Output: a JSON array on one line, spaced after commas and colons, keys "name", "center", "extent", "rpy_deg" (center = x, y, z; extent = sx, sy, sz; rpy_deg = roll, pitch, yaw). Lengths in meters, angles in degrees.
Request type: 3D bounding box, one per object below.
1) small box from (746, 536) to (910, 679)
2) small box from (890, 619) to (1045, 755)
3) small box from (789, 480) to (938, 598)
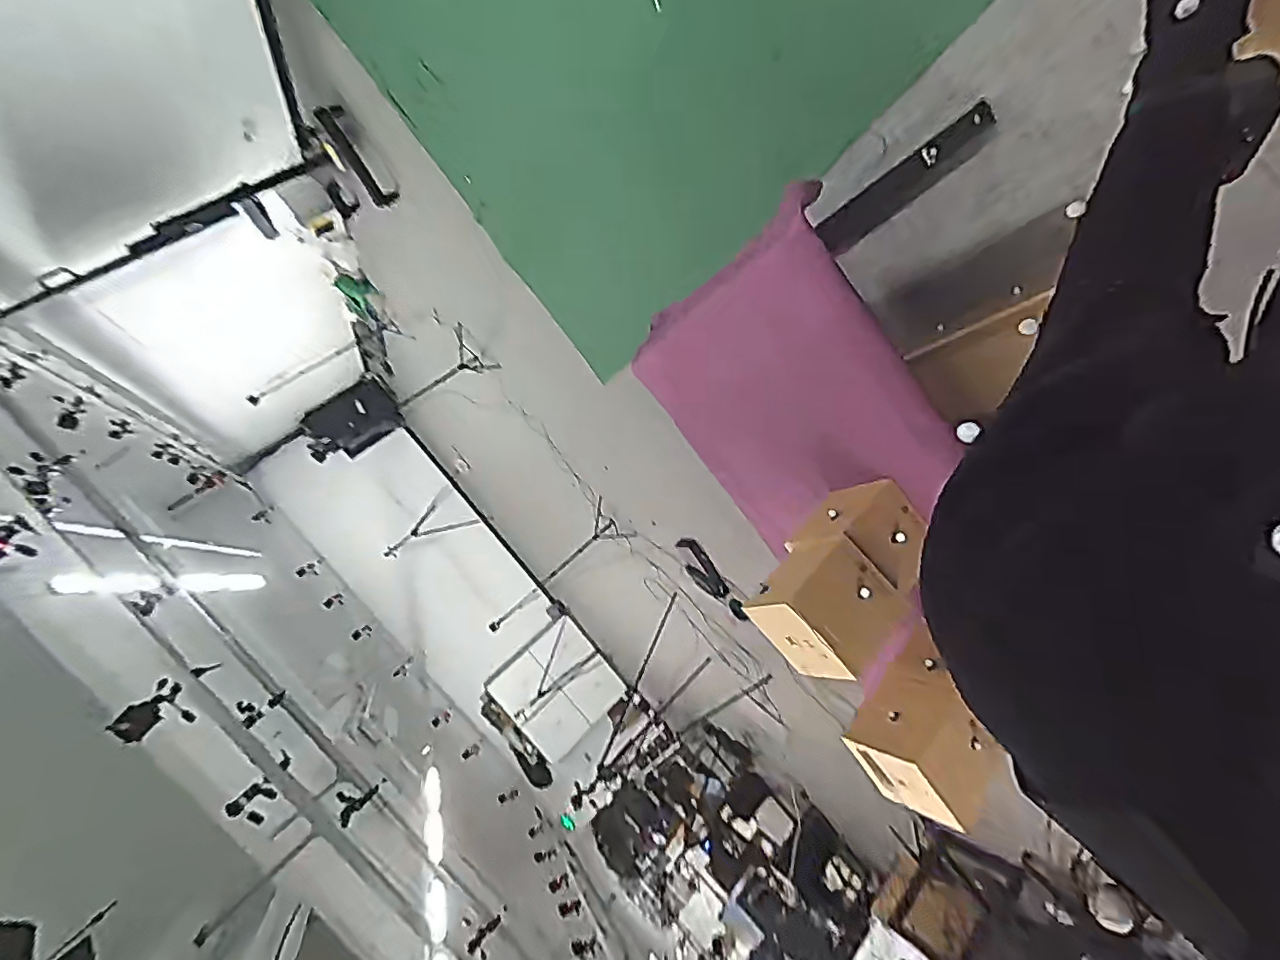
[{"name": "small box", "center": [0.327, 0.221, 0.948], "extent": [0.168, 0.176, 0.179], "rpy_deg": [48, 158, 2]}, {"name": "small box", "center": [0.648, 0.398, 1.074], "extent": [0.168, 0.176, 0.179], "rpy_deg": [53, 156, -8]}, {"name": "small box", "center": [0.430, 0.120, 1.031], "extent": [0.168, 0.176, 0.179], "rpy_deg": [51, 158, -3]}]
